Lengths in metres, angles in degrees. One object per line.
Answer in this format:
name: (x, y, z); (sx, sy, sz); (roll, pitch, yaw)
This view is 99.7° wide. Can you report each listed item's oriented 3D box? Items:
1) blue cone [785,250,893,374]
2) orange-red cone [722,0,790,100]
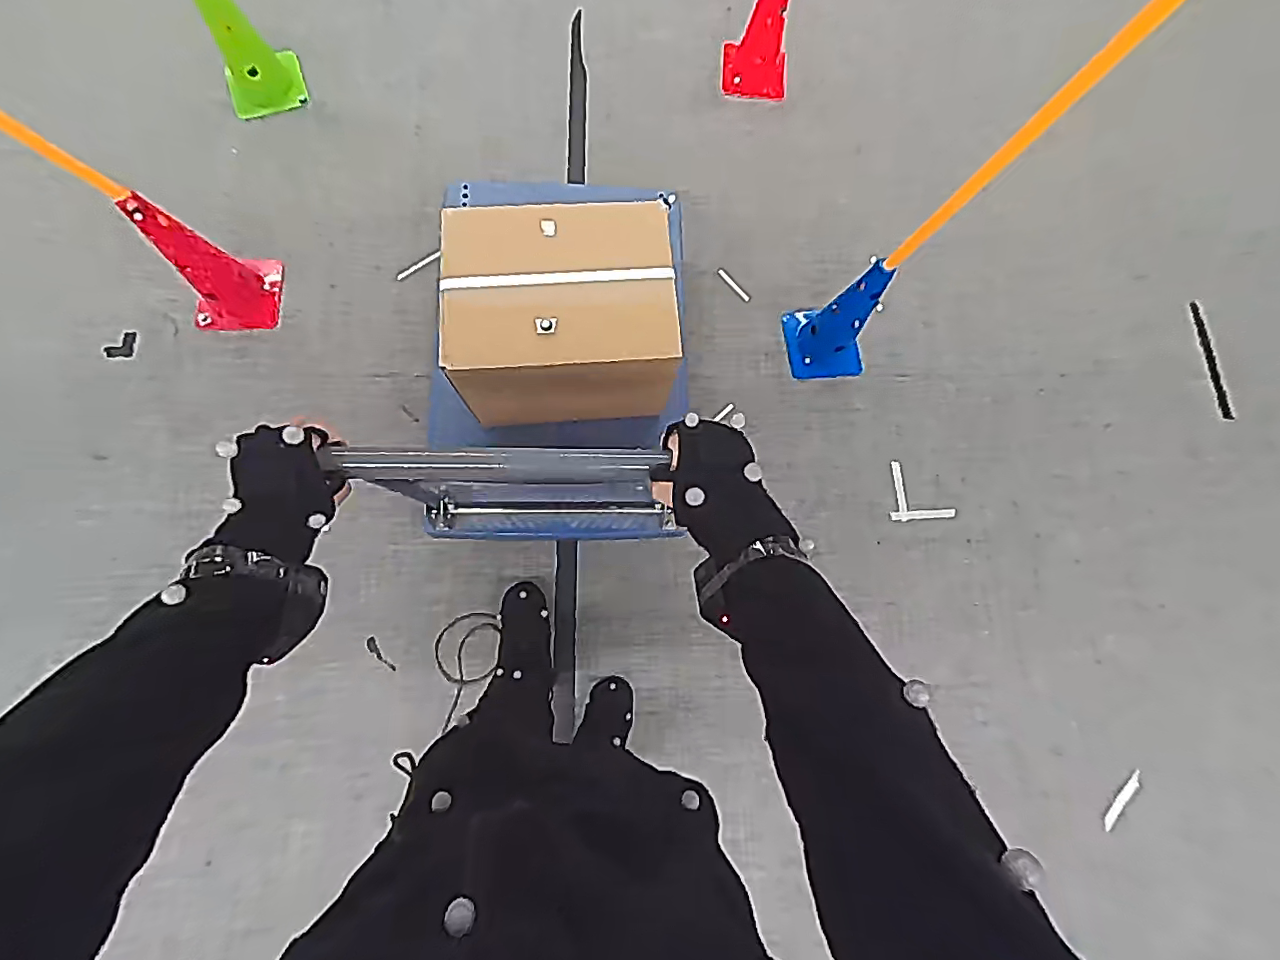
blue cone: (0.514, -0.422, 1.332); (0.193, 0.380, 0.192); (-4, 76, -5)
orange-red cone: (0.369, -1.304, 1.508); (0.199, 0.360, 0.198); (6, 78, -3)
